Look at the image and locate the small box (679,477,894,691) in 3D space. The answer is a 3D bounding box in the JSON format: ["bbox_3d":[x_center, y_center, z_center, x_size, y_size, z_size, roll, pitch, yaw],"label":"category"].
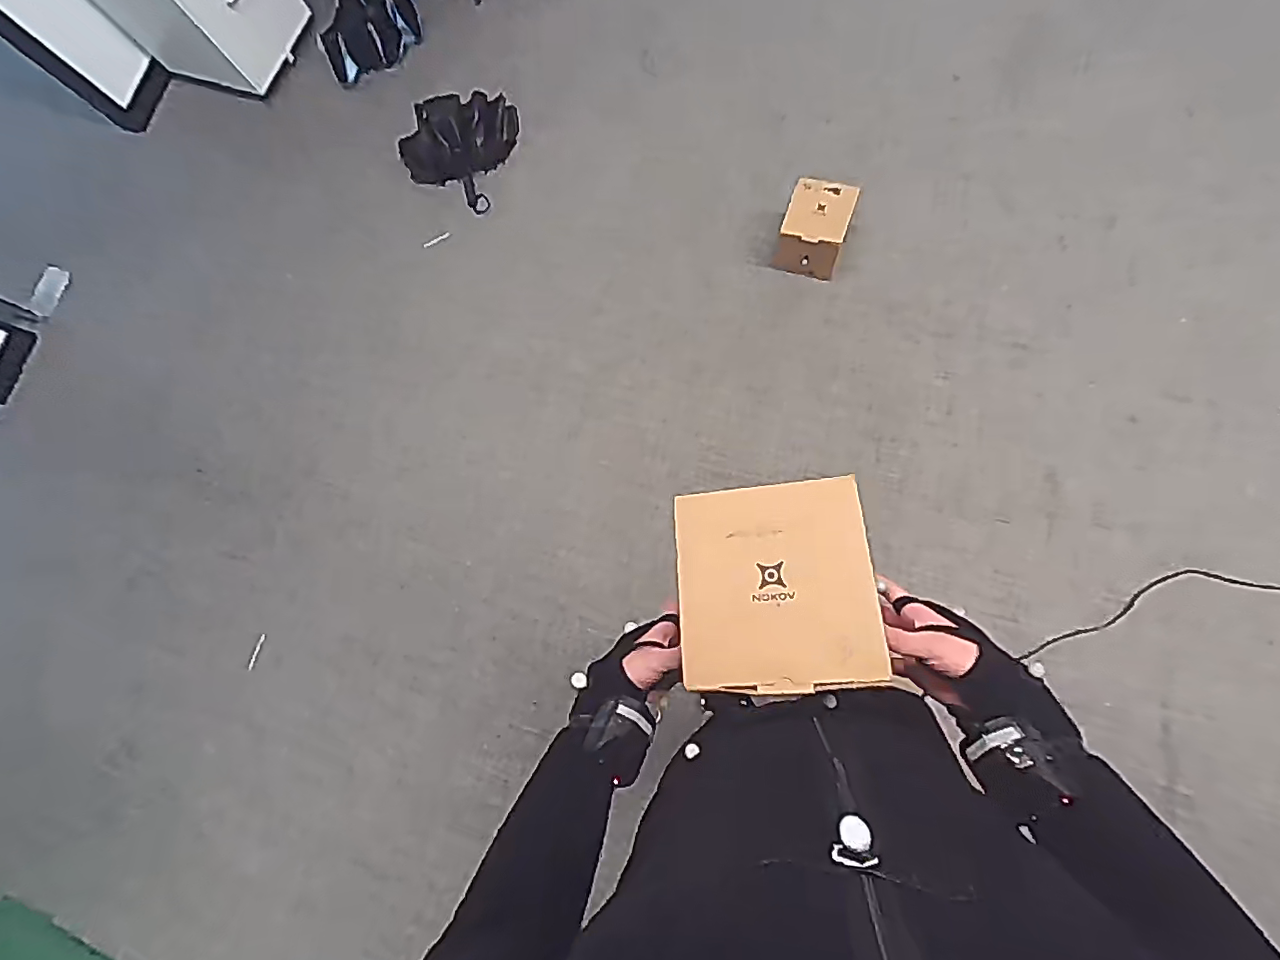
[{"bbox_3d":[0.139,0.115,0.541,0.168,0.176,0.179,-8,66,12],"label":"small box"}]

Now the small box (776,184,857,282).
[{"bbox_3d":[0.487,-0.683,1.512,0.168,0.176,0.179,19,82,13],"label":"small box"}]
